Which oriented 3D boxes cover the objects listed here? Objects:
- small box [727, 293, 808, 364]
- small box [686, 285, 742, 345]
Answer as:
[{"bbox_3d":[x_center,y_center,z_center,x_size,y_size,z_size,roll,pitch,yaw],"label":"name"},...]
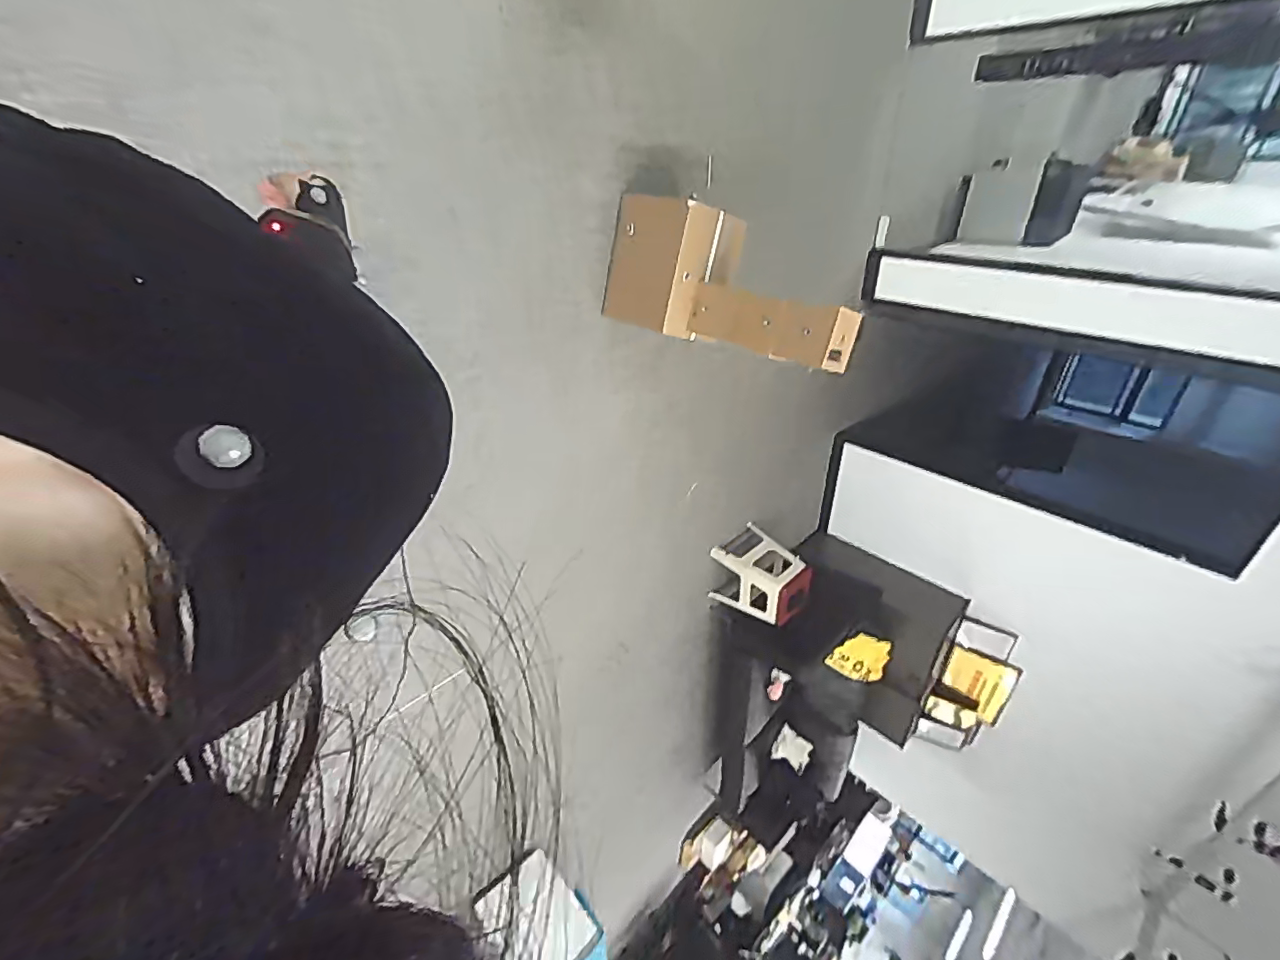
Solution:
[{"bbox_3d":[0.395,-0.476,1.700,0.168,0.176,0.179,-6,115,-48],"label":"small box"},{"bbox_3d":[0.283,-0.543,1.796,0.179,0.176,0.168,-8,117,-47],"label":"small box"}]
